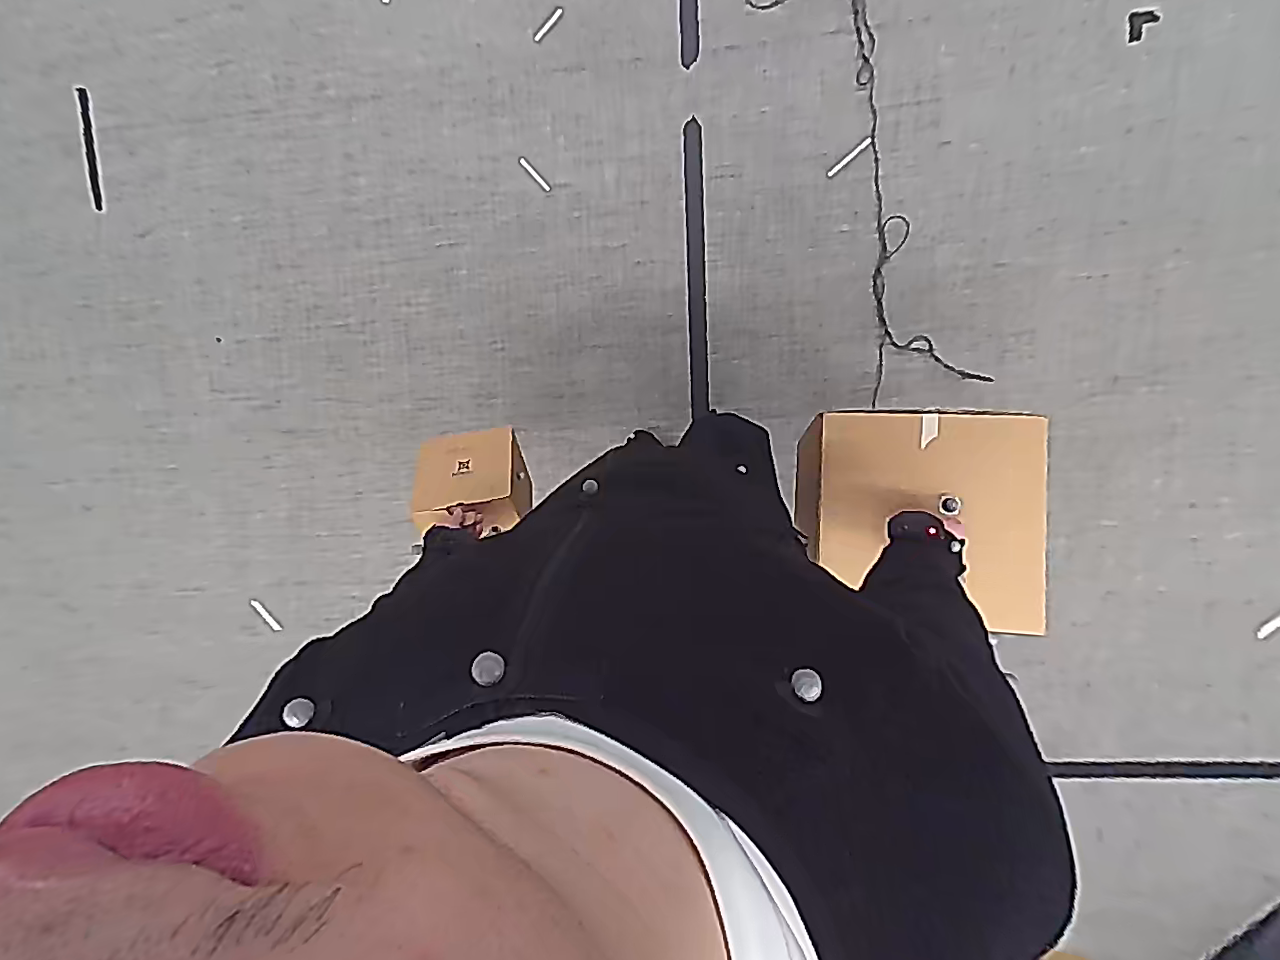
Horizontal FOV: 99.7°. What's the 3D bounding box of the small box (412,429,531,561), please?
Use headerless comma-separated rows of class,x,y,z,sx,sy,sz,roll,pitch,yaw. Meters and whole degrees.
small box,-0.299,0.034,0.996,0.168,0.179,0.176,-8,138,-3
